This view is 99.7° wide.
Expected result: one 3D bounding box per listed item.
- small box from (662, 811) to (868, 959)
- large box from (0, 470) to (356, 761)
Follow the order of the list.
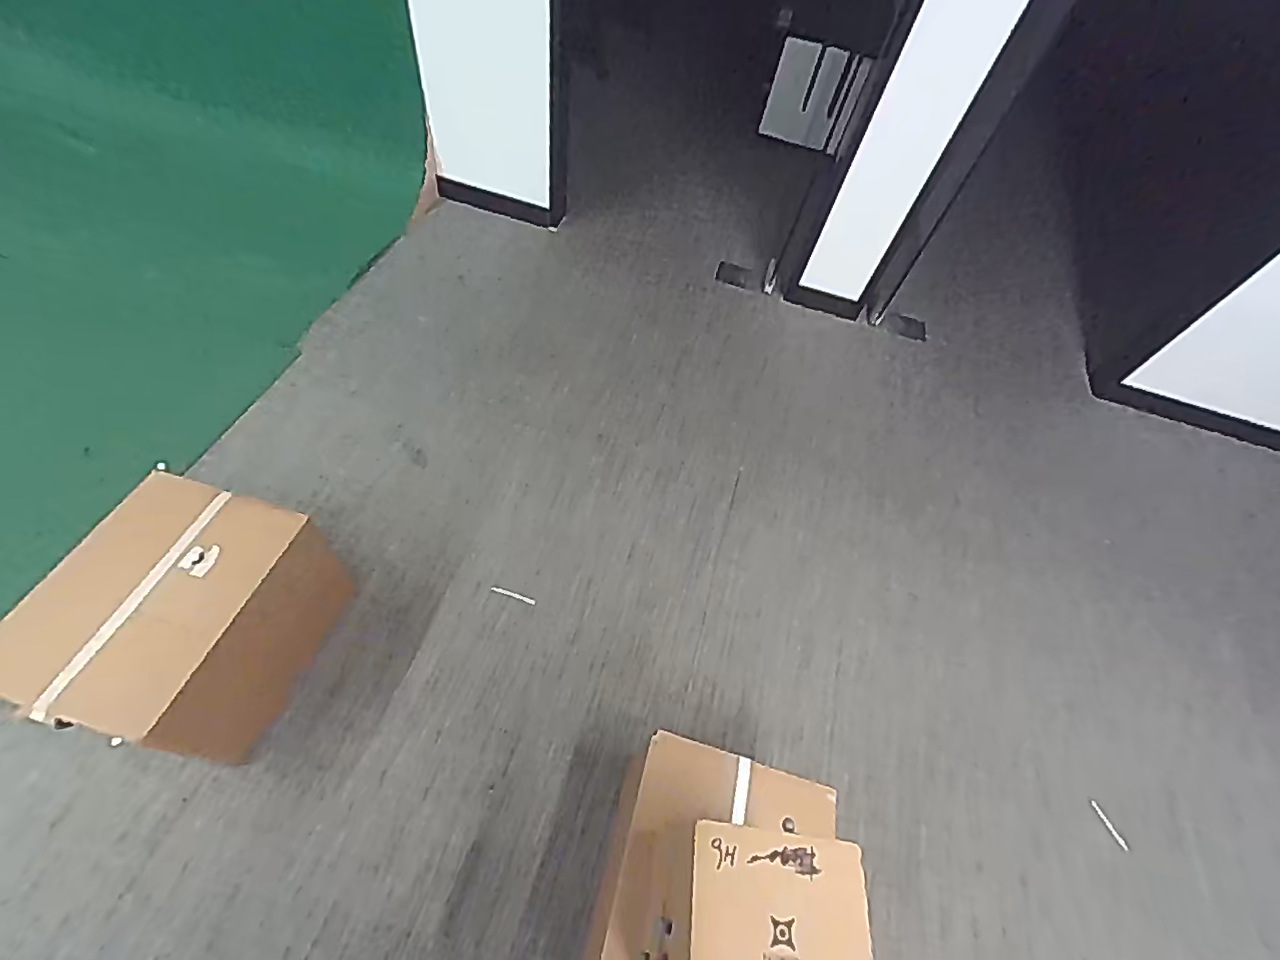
[{"bbox_3d":[0.116,0.455,0.551,0.168,0.176,0.179,8,54,0],"label":"small box"},{"bbox_3d":[-0.826,0.259,1.021,0.320,0.320,0.408,17,55,2],"label":"large box"}]
